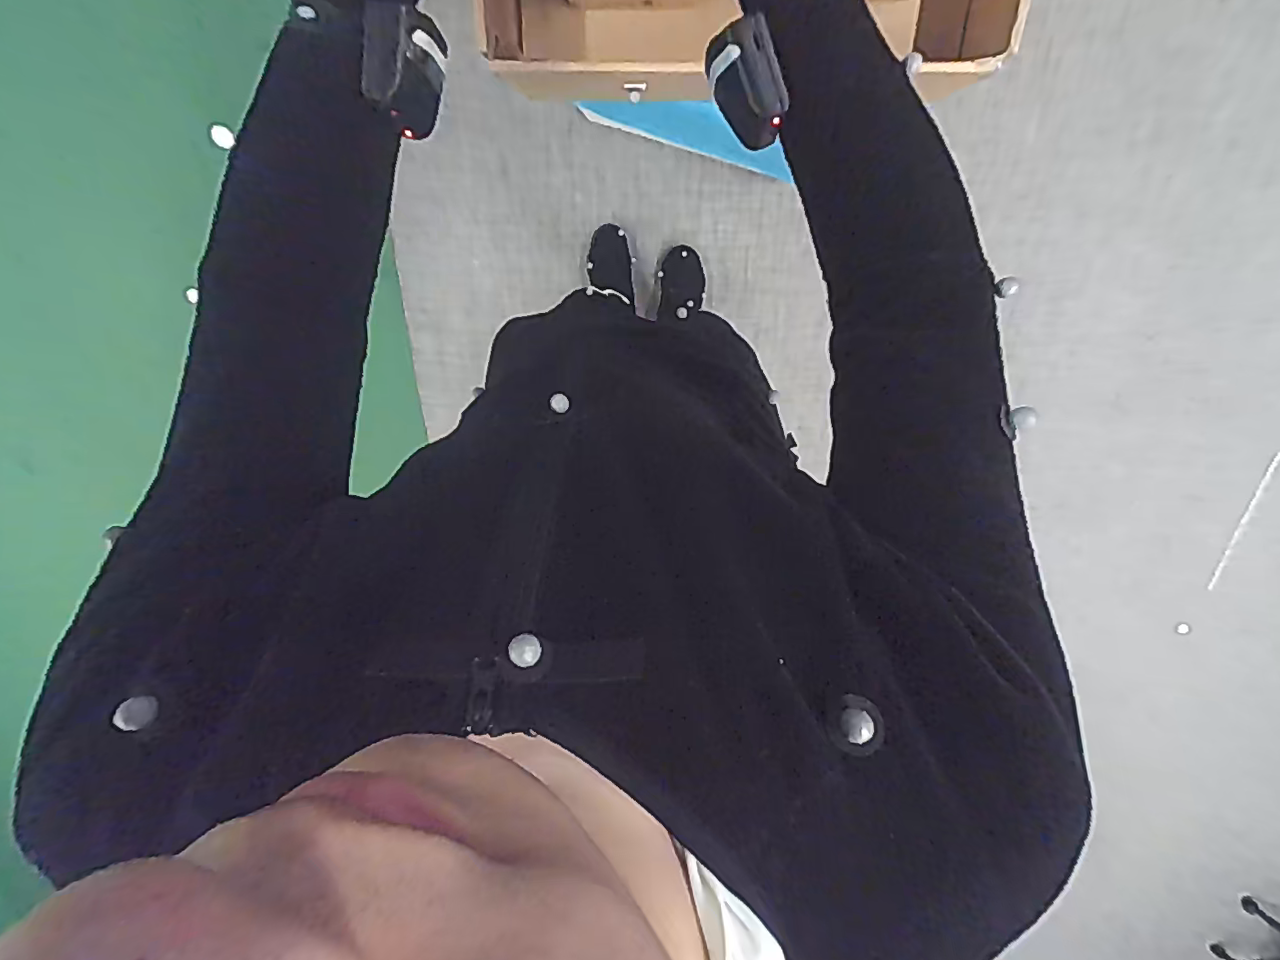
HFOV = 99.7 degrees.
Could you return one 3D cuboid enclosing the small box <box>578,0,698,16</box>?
[{"bbox_3d":[-0.008,-0.667,0.608,0.168,0.176,0.179,3,113,3],"label":"small box"}]
